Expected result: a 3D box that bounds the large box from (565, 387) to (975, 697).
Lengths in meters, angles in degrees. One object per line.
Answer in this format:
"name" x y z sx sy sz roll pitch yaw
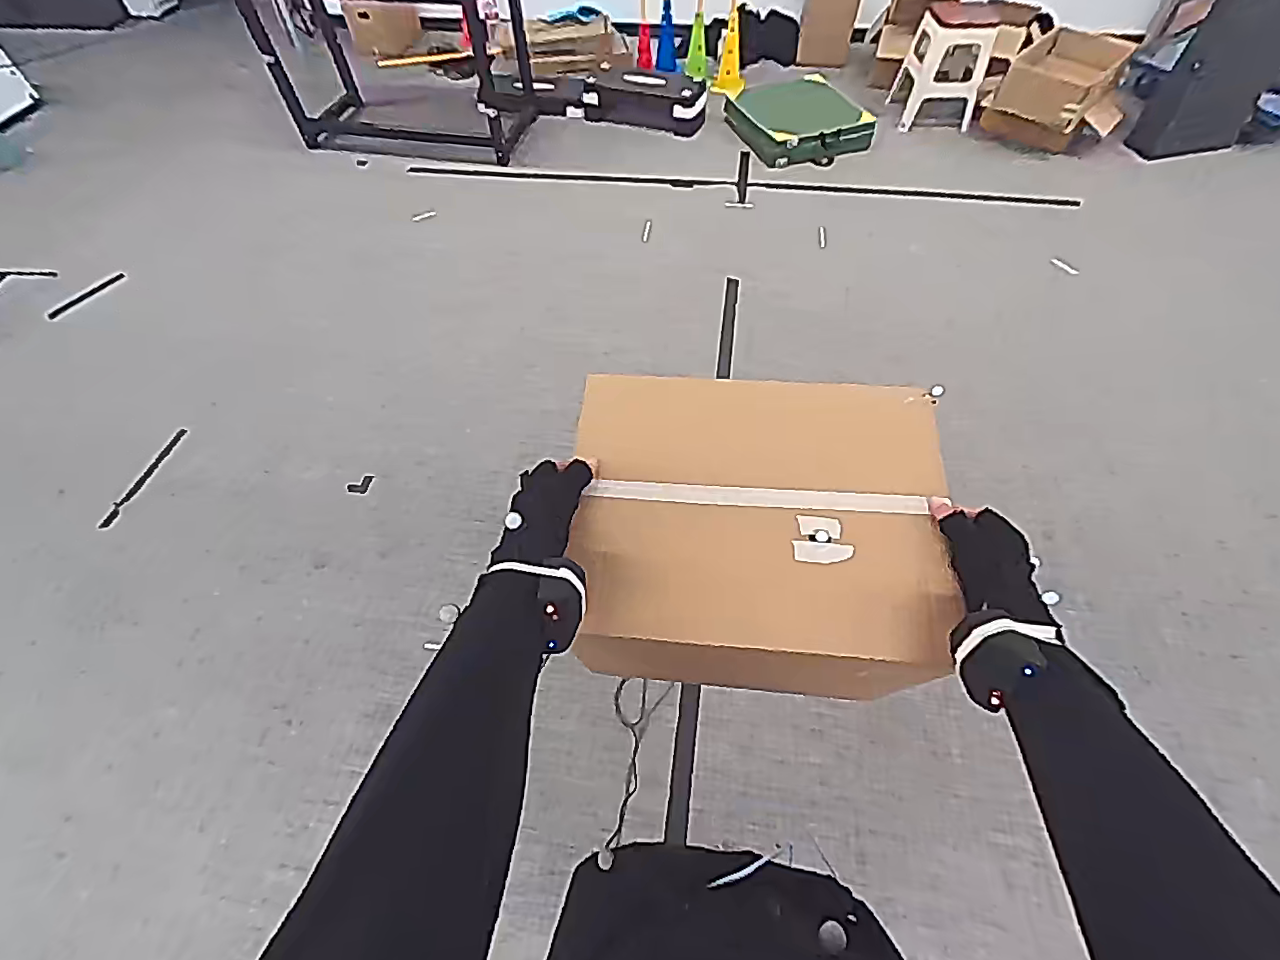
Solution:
"large box" 0.140 0.096 0.723 0.408 0.320 0.320 4 64 6
